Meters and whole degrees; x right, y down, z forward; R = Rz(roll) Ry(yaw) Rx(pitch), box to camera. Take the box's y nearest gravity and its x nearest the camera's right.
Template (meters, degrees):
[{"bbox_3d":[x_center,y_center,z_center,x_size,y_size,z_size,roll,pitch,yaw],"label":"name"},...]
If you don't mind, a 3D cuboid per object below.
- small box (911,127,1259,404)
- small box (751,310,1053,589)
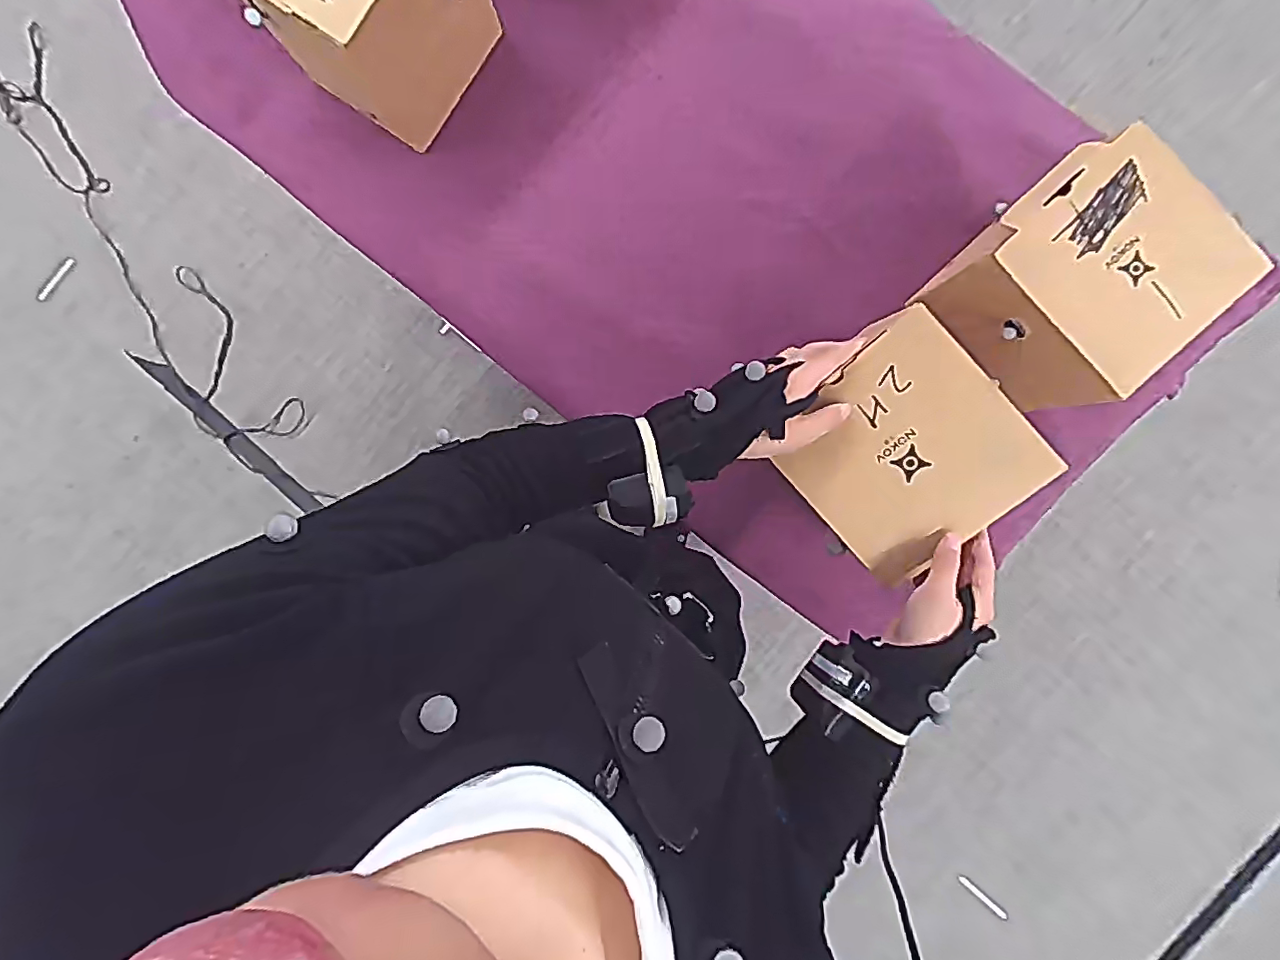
[{"bbox_3d":[0.422,-0.193,0.551,0.168,0.176,0.179,-43,91,4],"label":"small box"},{"bbox_3d":[0.225,-0.034,0.517,0.168,0.176,0.179,-41,90,14],"label":"small box"}]
